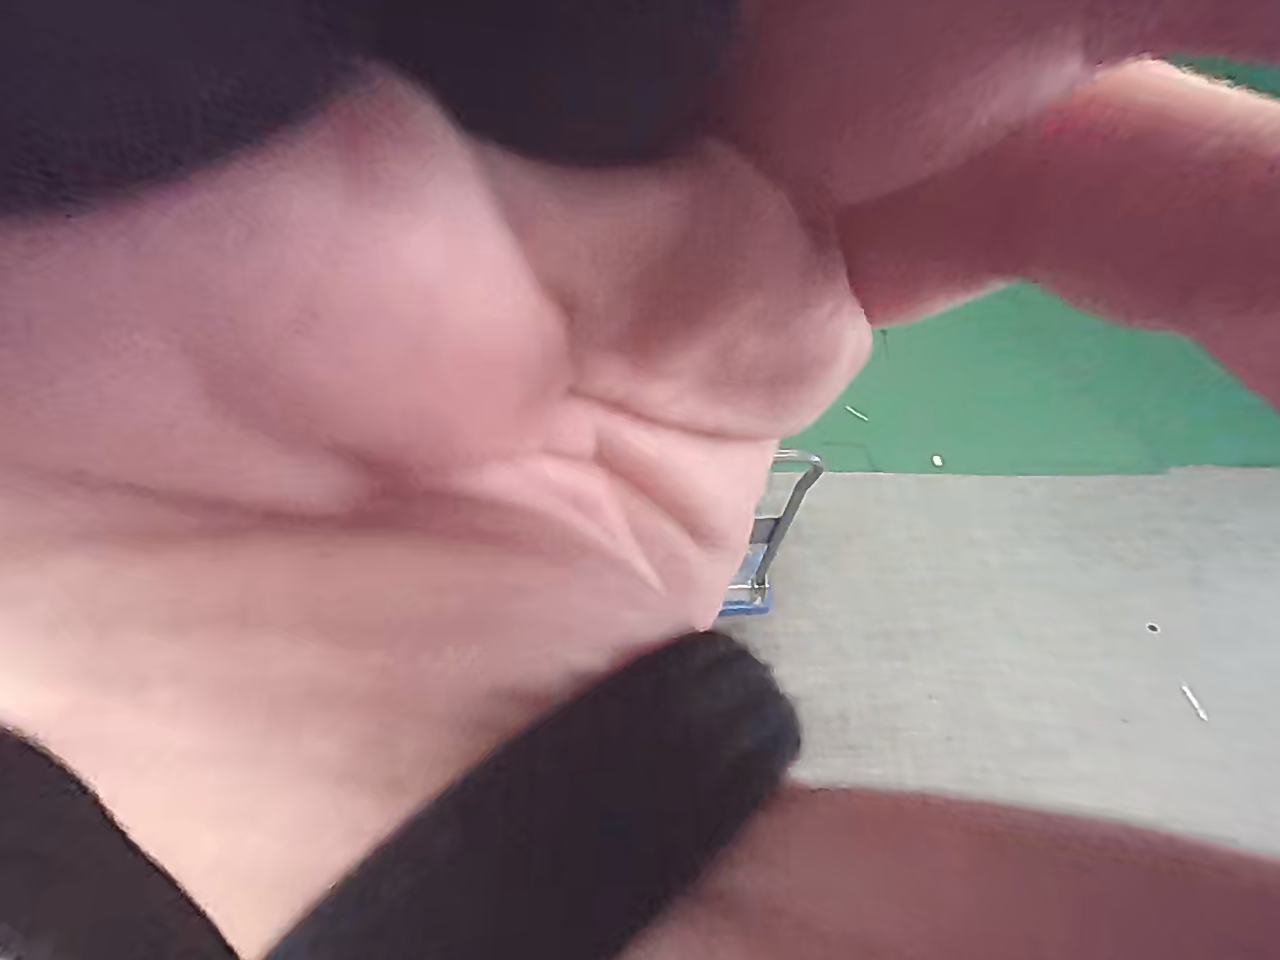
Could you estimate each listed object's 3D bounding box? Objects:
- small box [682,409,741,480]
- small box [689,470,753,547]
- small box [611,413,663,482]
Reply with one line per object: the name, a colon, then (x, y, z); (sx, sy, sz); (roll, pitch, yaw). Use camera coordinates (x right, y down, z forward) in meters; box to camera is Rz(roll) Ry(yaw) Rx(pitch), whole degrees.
small box: (0.239, -0.121, 1.852); (0.168, 0.176, 0.179); (-4, 52, -3)
small box: (0.245, 0.088, 1.681); (0.168, 0.176, 0.179); (0, 51, -1)
small box: (-0.011, -0.104, 1.835); (0.168, 0.176, 0.179); (-3, 51, -4)
